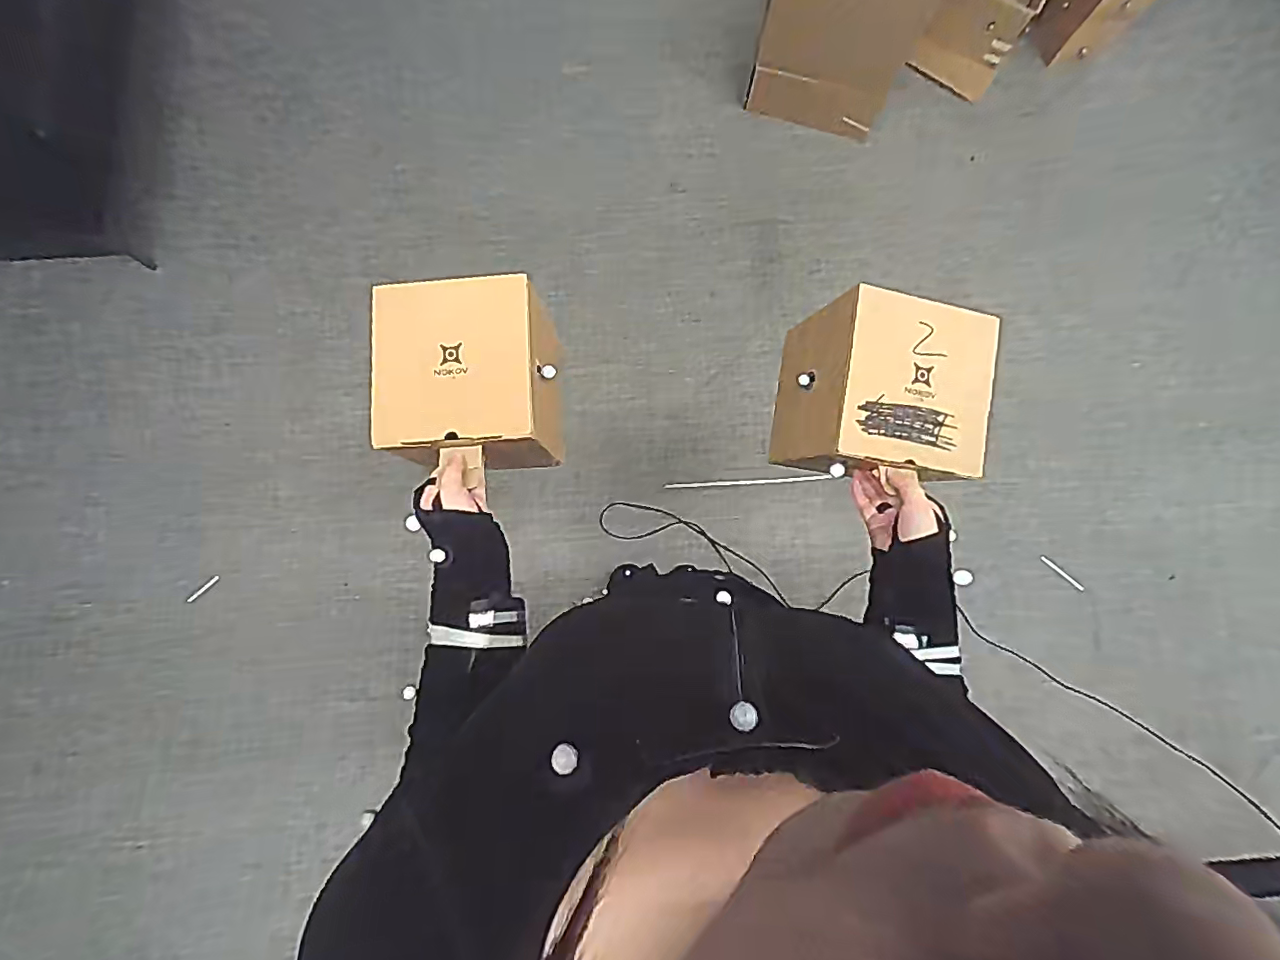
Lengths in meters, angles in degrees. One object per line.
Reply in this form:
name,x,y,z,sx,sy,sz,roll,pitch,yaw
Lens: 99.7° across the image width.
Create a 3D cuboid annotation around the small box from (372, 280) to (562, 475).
small box,-0.188,-0.107,0.629,0.168,0.176,0.179,-4,82,2
